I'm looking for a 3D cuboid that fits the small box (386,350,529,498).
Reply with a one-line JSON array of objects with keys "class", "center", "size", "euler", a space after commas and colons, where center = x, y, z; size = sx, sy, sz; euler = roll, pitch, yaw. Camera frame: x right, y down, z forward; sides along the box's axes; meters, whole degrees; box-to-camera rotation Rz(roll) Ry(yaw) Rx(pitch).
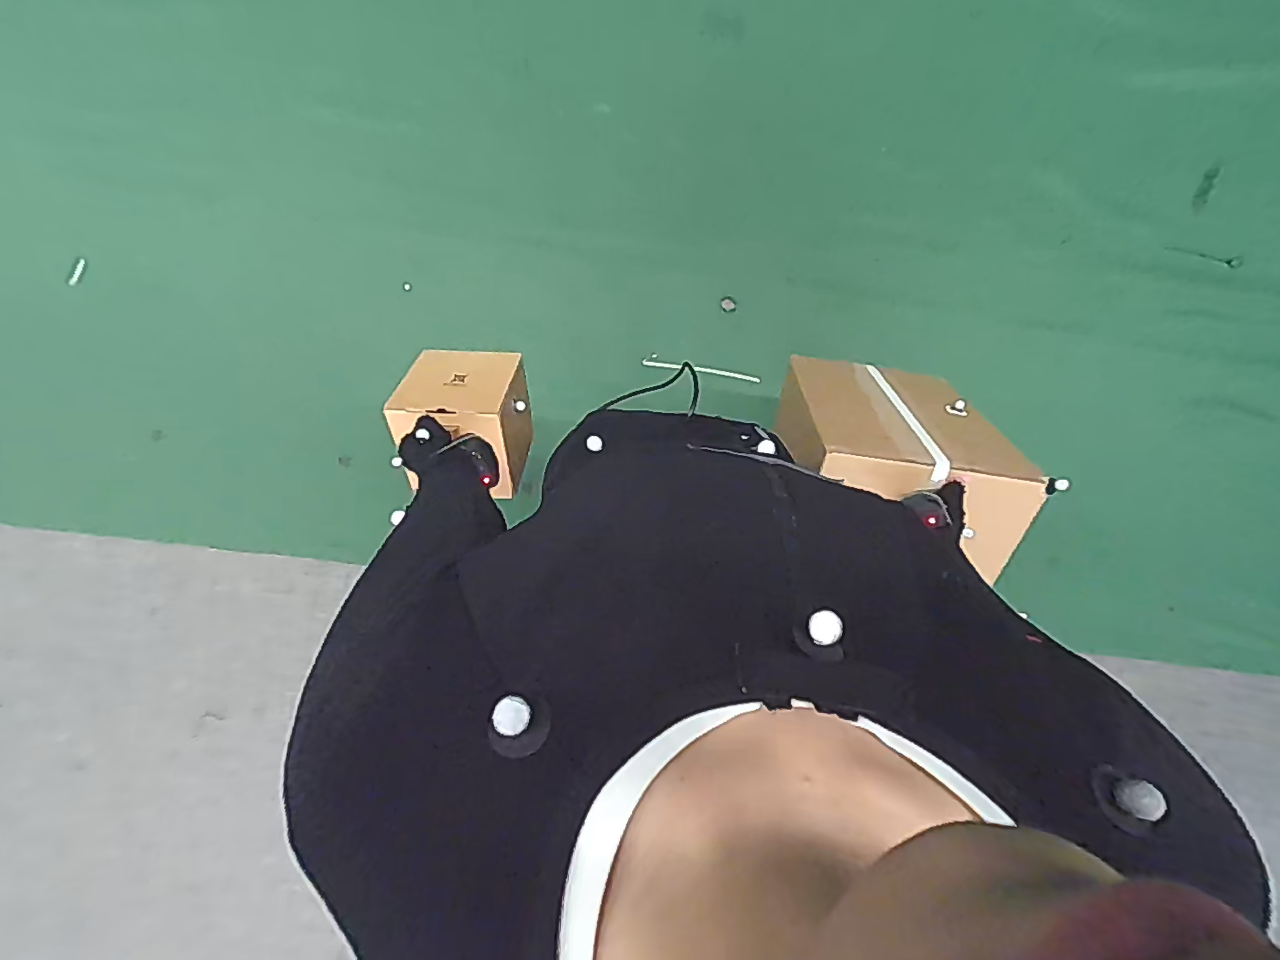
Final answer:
[{"class": "small box", "center": [-0.281, -0.093, 0.884], "size": [0.168, 0.179, 0.176], "euler": [2, 133, 1]}]
